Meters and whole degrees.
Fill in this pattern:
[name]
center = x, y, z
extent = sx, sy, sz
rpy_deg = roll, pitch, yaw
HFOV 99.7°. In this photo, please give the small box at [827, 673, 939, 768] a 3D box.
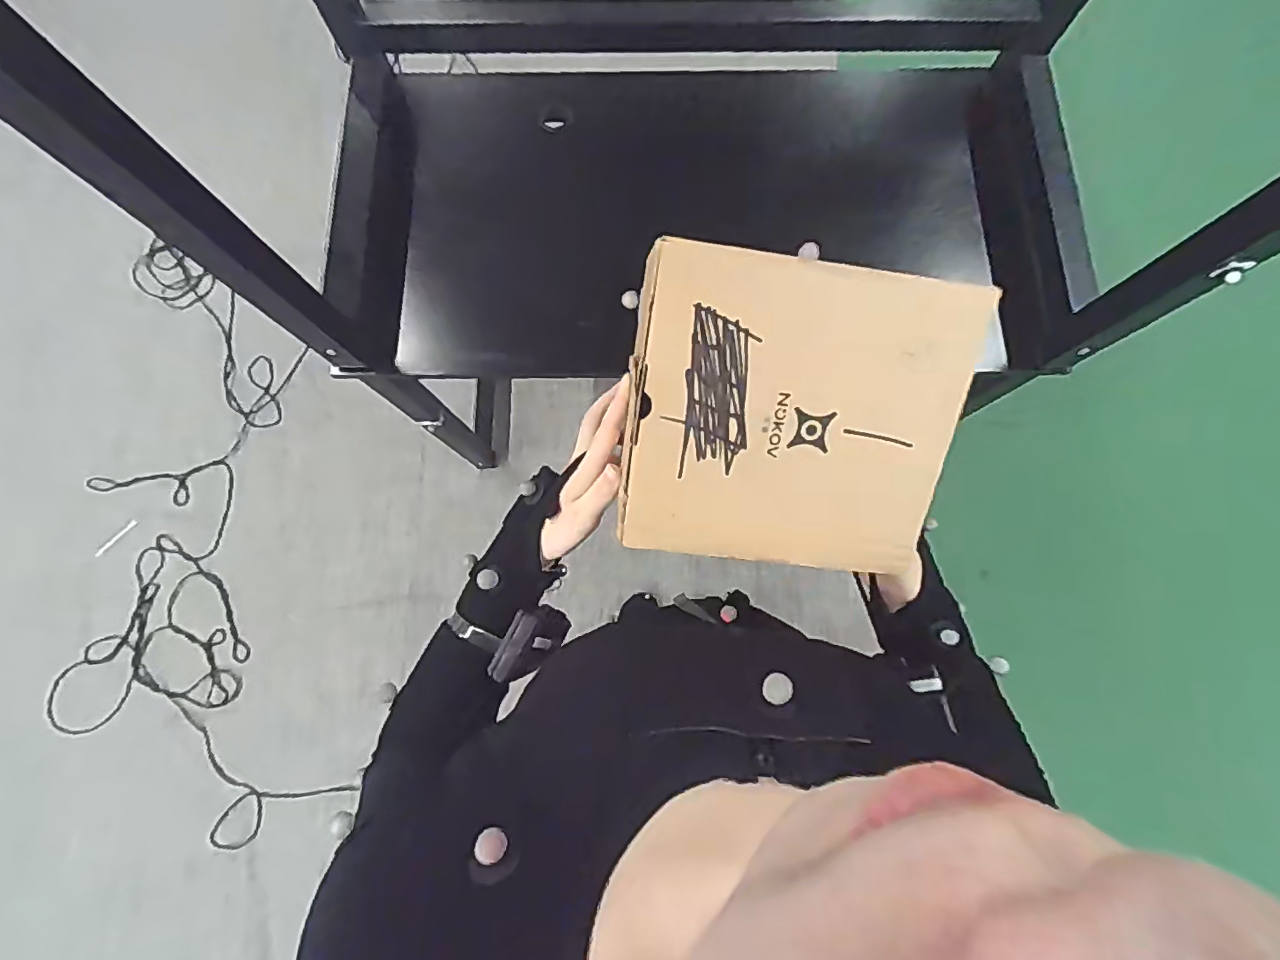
[small box]
center = 0.526, 0.526, 1.199
extent = 0.179, 0.176, 0.168
rpy_deg = 0, 77, 0
